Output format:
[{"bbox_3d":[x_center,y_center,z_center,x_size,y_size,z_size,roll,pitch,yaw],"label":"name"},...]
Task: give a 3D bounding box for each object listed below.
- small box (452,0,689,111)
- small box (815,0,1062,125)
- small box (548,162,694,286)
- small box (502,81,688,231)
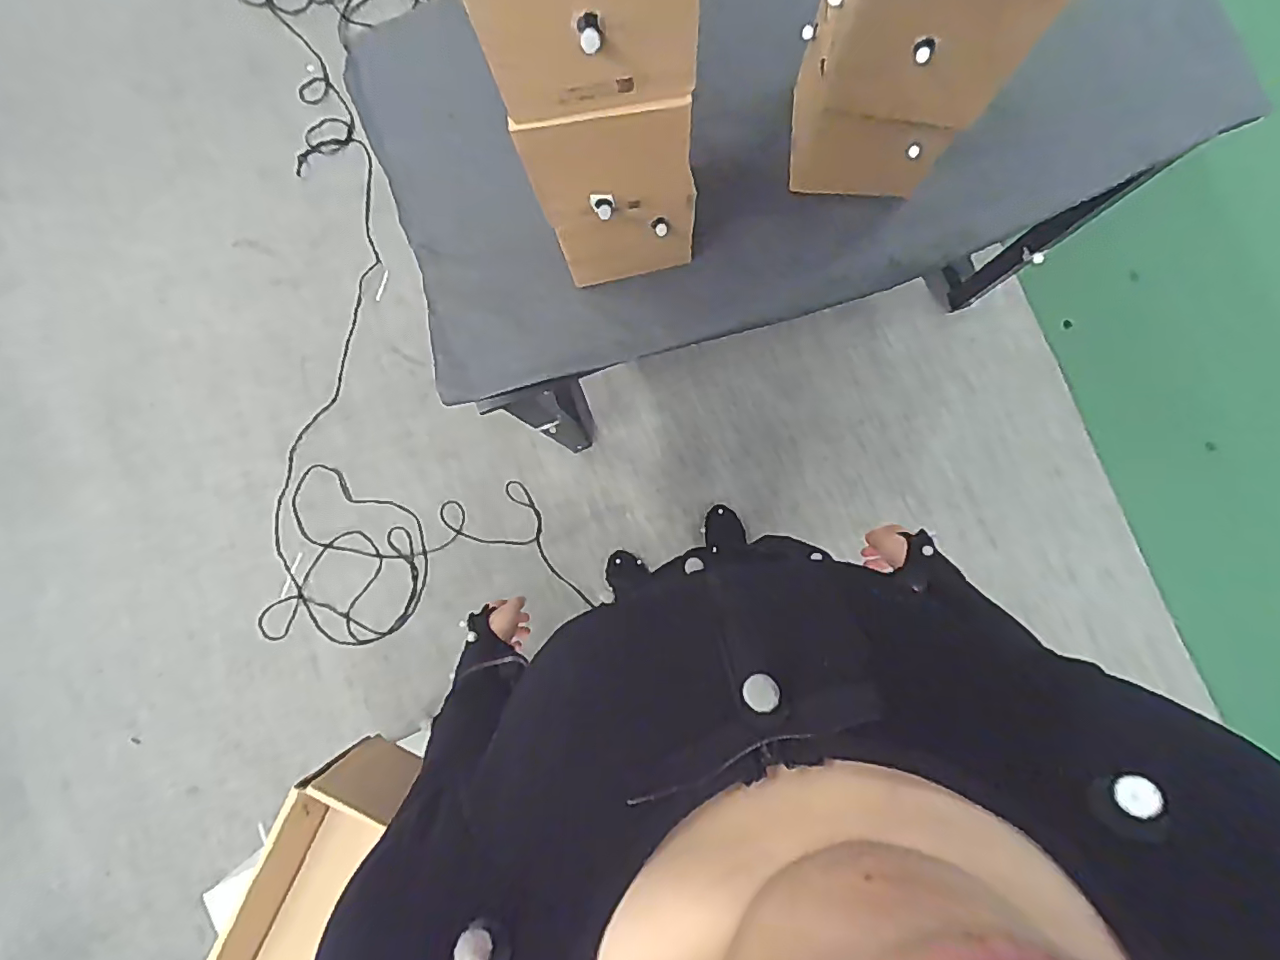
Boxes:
[{"bbox_3d":[-0.054,-0.412,0.399,0.168,0.176,0.179,-8,86,4],"label":"small box"},{"bbox_3d":[0.297,-0.499,0.547,0.179,0.176,0.168,11,86,4],"label":"small box"},{"bbox_3d":[-0.033,-0.385,0.724,0.179,0.176,0.168,-12,84,3],"label":"small box"},{"bbox_3d":[-0.043,-0.393,0.562,0.168,0.176,0.179,-7,86,4],"label":"small box"}]
